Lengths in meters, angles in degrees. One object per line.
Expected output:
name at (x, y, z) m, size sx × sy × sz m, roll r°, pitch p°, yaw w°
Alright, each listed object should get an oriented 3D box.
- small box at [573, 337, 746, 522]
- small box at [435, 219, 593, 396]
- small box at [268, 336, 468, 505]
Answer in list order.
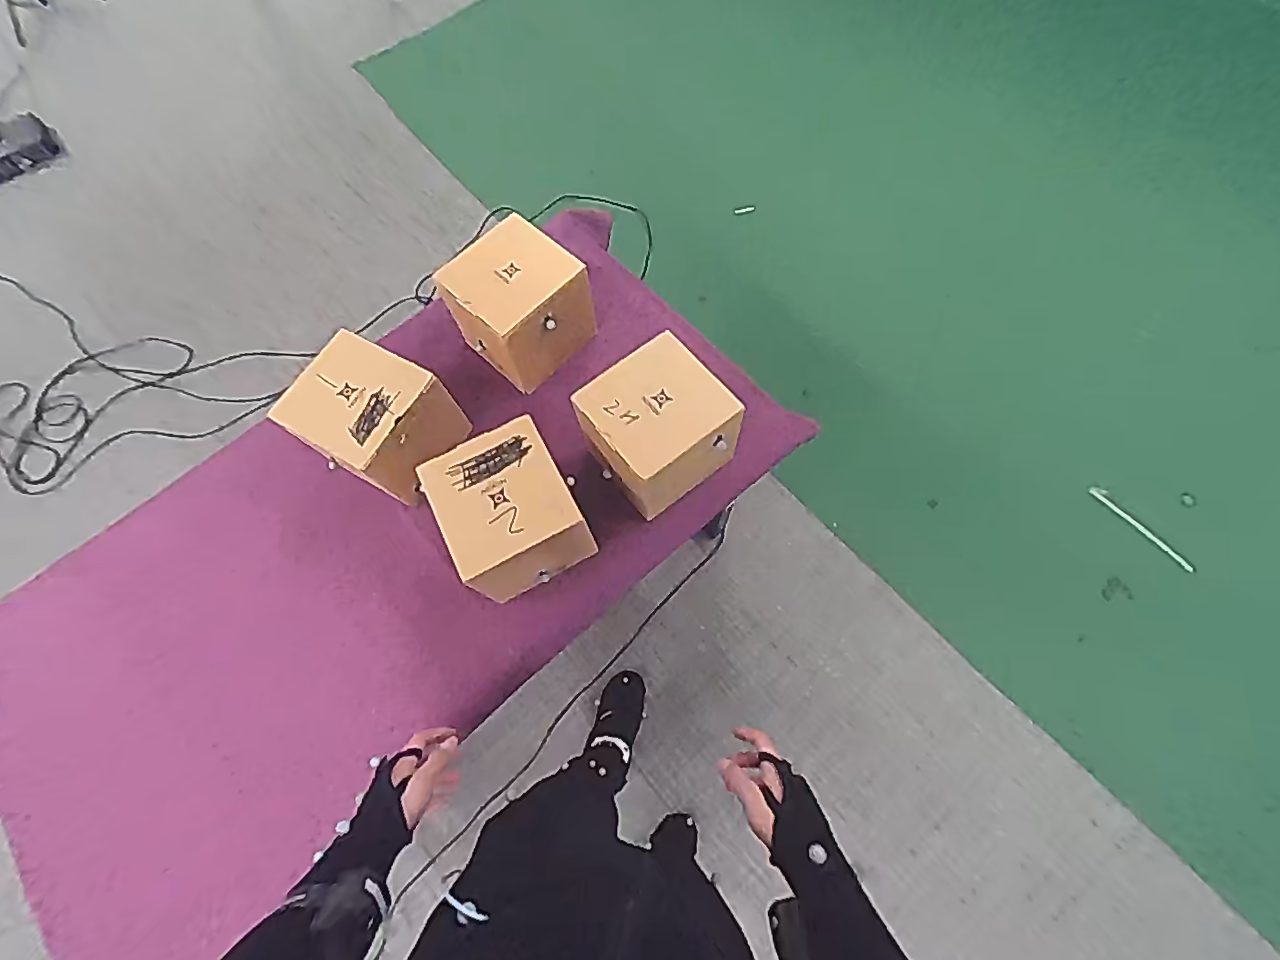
small box at (0.028, -0.067, 0.793) m, size 0.179 × 0.176 × 0.168 m, roll -36°, pitch 70°, yaw -10°
small box at (-0.192, -0.276, 0.889) m, size 0.168 × 0.176 × 0.179 m, roll 41°, pitch 77°, yaw 16°
small box at (-0.395, -0.079, 0.822) m, size 0.179 × 0.176 × 0.168 m, roll 27°, pitch 72°, yaw 12°
